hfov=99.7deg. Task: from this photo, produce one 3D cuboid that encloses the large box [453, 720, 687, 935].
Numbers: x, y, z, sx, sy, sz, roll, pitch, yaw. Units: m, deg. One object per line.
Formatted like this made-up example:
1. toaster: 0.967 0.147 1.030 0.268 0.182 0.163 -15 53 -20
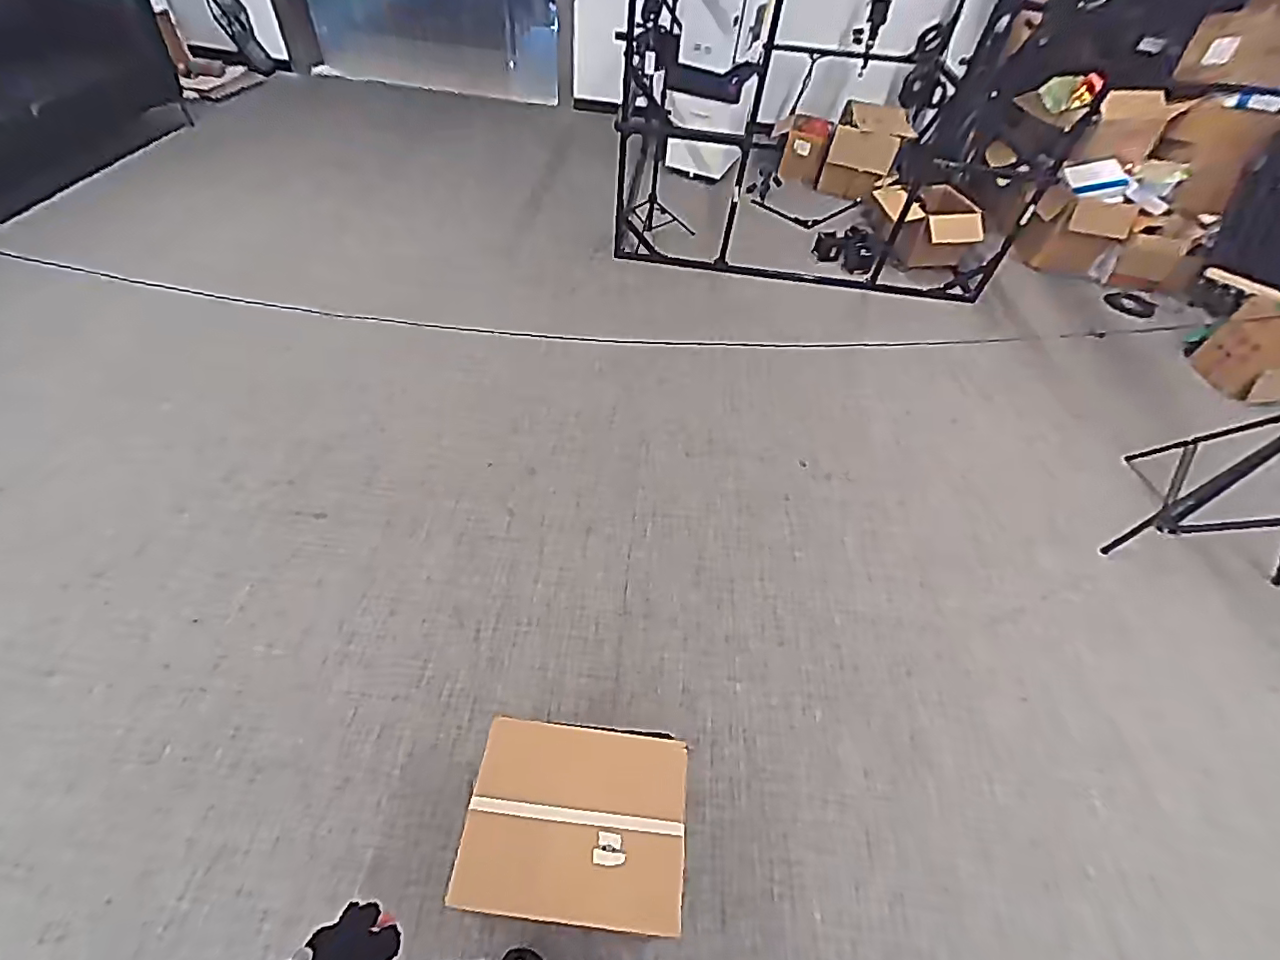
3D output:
1. large box: -0.129 0.731 1.131 0.408 0.320 0.320 8 50 -1
